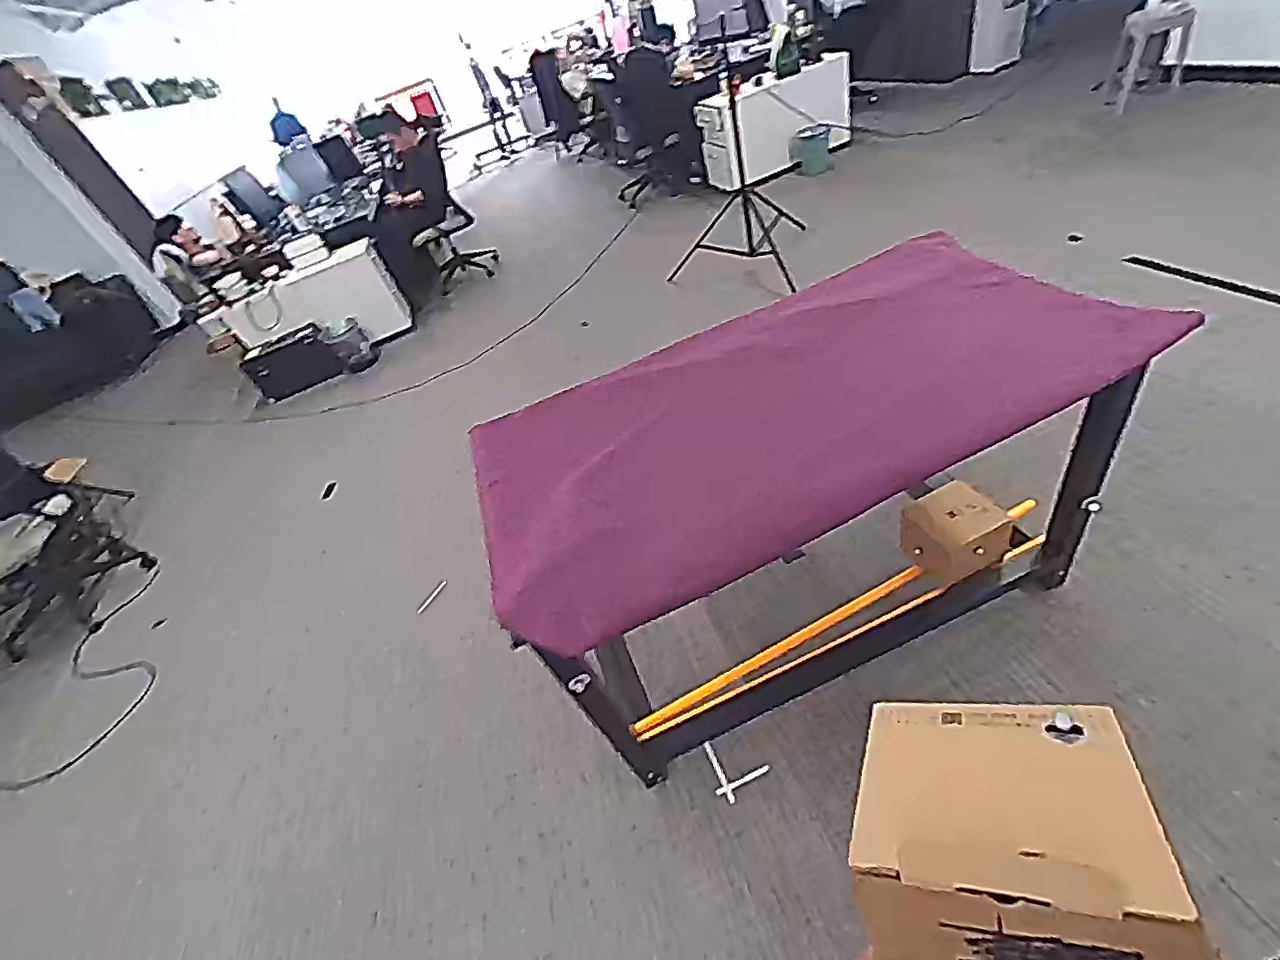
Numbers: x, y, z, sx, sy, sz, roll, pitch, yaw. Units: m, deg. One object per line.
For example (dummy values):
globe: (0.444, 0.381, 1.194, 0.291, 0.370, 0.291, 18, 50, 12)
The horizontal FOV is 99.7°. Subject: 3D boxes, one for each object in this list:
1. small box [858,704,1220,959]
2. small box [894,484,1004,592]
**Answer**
small box: (0.263, 0.279, 0.375, 0.168, 0.179, 0.176, -13, 9, 32)
small box: (0.762, 0.149, 1.350, 0.179, 0.176, 0.168, -26, 42, -5)
